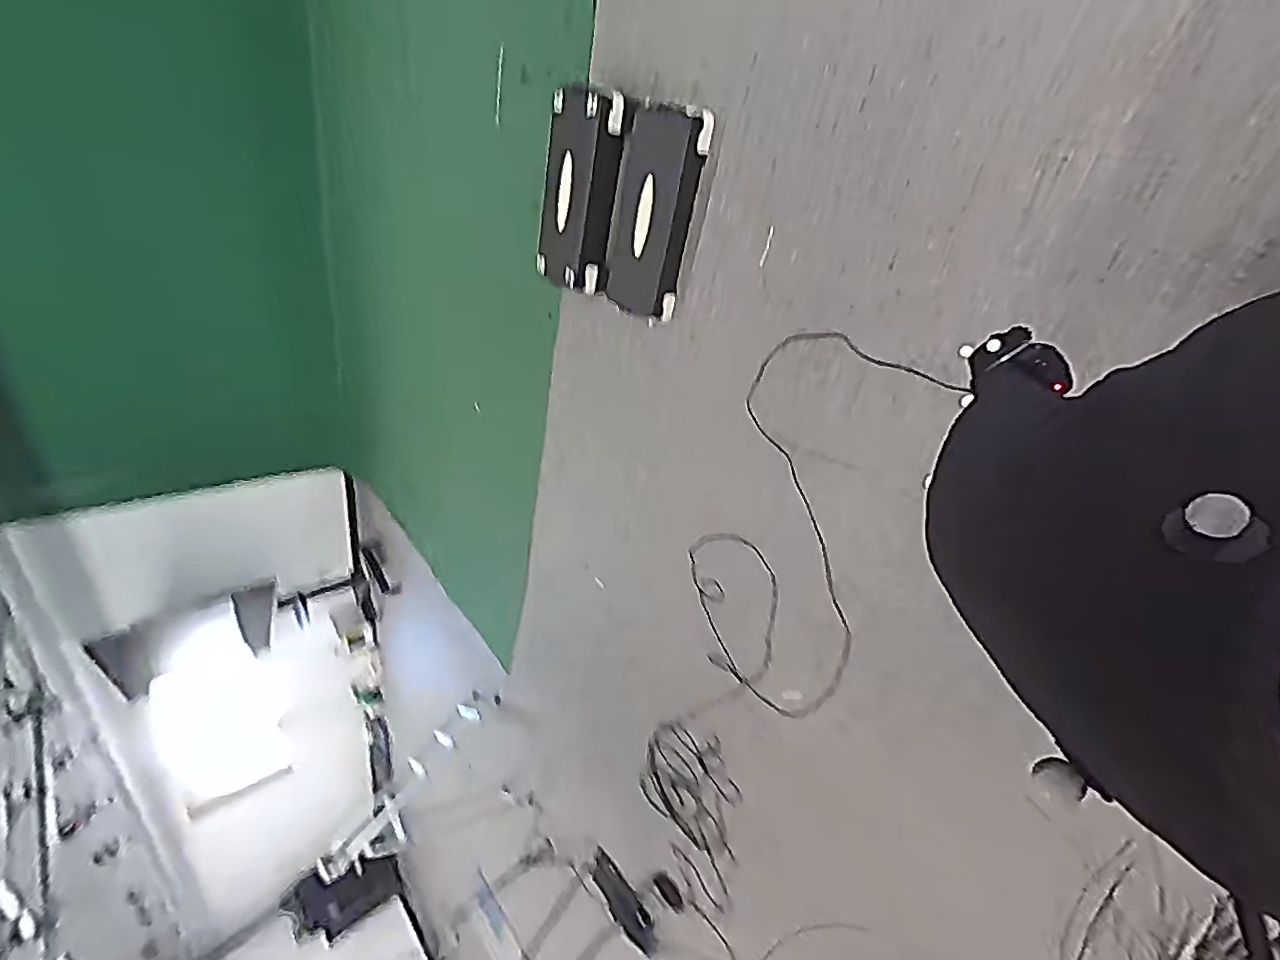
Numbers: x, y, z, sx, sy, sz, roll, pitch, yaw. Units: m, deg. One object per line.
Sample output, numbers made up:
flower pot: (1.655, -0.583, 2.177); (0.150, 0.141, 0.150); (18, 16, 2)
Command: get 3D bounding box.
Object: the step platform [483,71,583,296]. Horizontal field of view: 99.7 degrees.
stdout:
step platform: (-0.395, -1.029, 1.945); (0.286, 0.204, 0.684); (36, 127, 34)
